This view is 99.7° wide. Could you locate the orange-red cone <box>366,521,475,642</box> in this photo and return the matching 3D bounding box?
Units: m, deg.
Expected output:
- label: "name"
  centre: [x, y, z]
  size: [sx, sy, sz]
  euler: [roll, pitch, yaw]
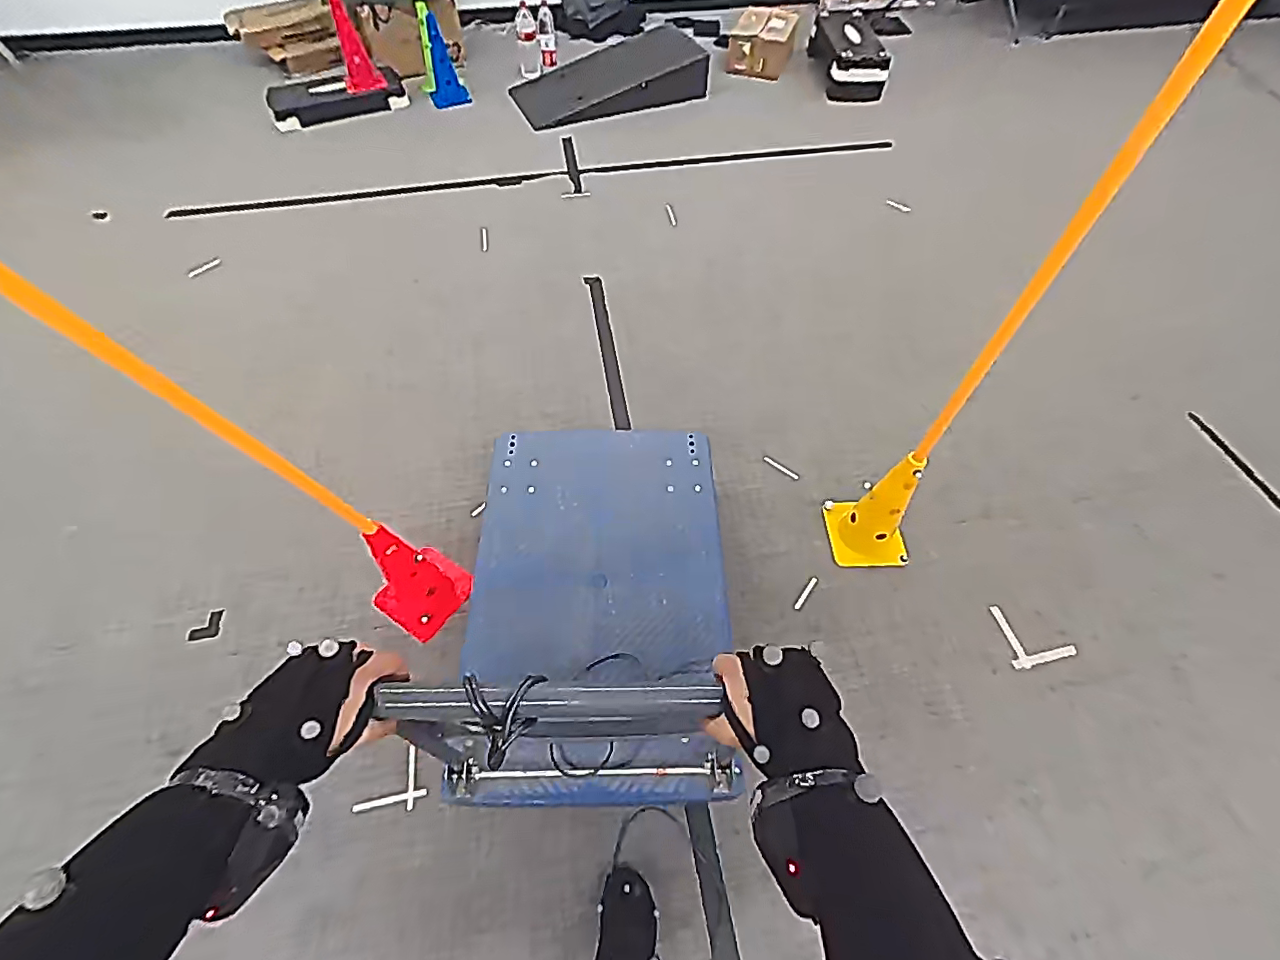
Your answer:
- label: "orange-red cone"
  centre: [-0.546, 0.196, 1.247]
  size: [0.198, 0.360, 0.199]
  euler: [31, 60, 17]
